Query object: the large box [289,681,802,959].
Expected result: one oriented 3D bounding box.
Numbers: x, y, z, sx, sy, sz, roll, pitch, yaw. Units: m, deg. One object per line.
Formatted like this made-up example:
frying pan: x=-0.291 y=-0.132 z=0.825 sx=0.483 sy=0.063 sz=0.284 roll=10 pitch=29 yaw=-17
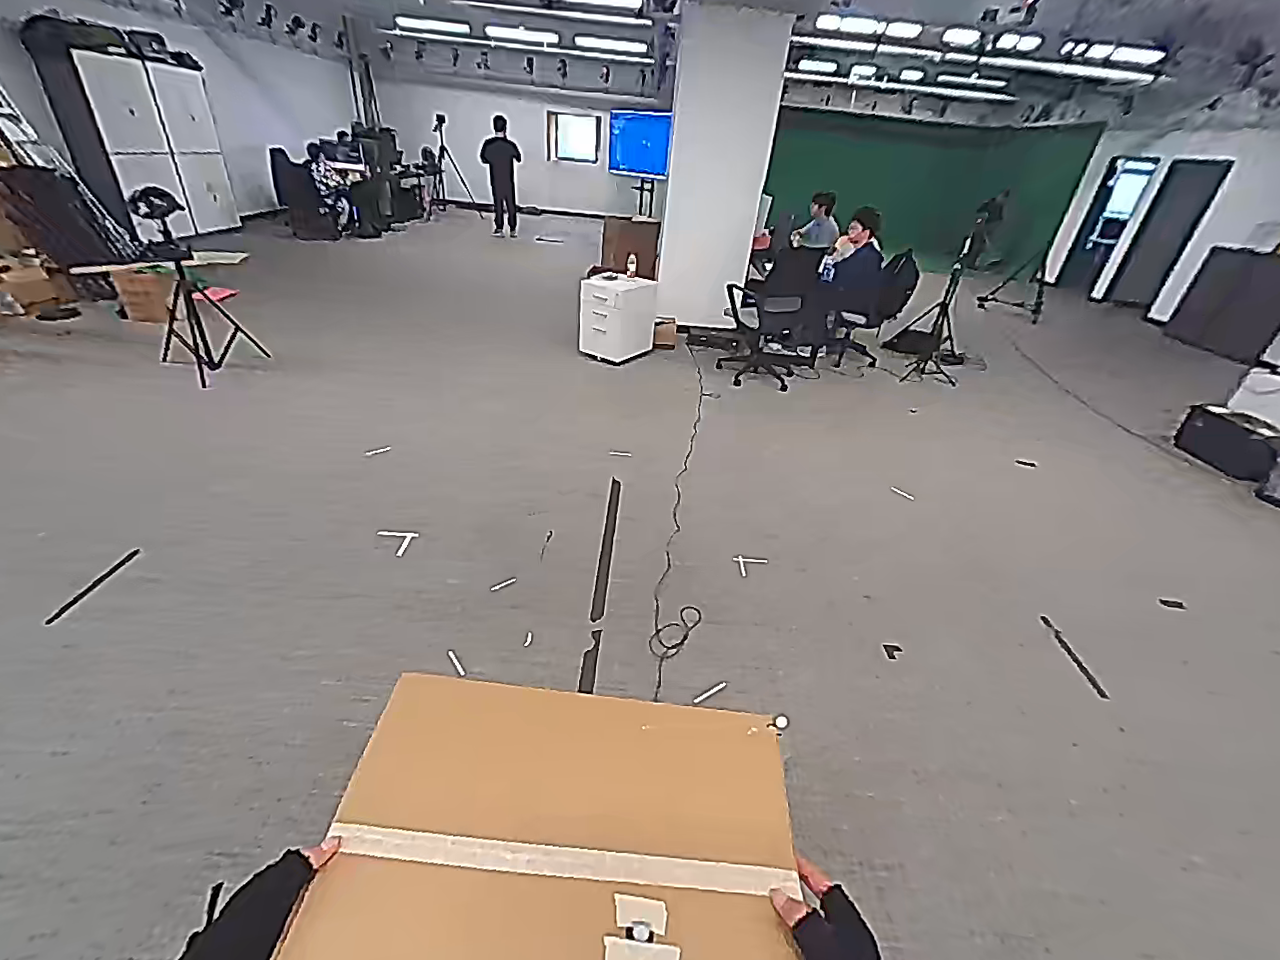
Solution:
large box: x=-0.081 y=0.451 z=0.563 sx=0.408 sy=0.320 sz=0.320 roll=8 pitch=38 yaw=-1
